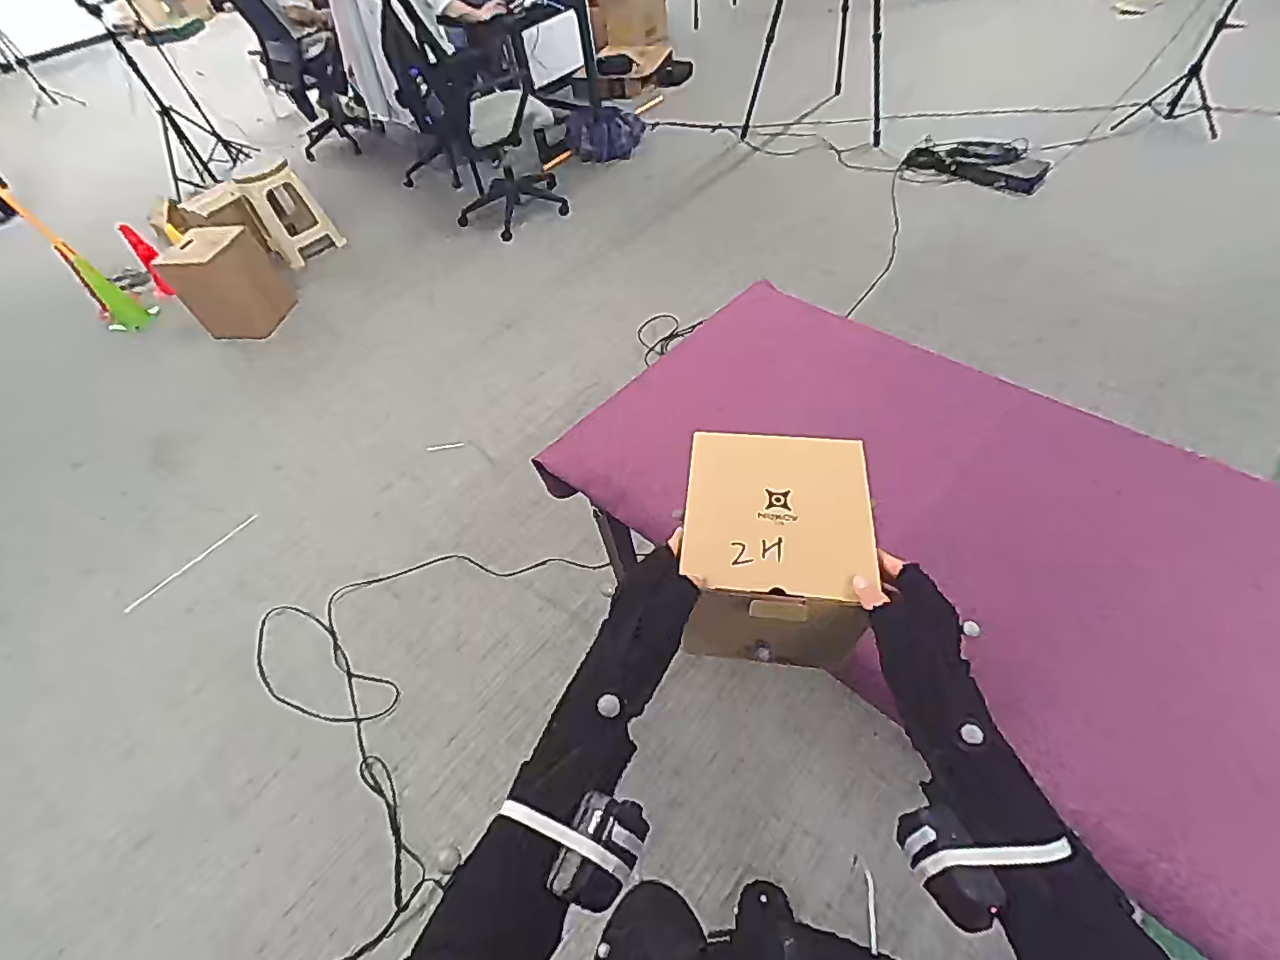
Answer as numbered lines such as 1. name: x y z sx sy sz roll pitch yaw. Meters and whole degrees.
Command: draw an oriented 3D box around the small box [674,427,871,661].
1. small box: 0.127 0.068 0.564 0.168 0.176 0.179 4 55 9
